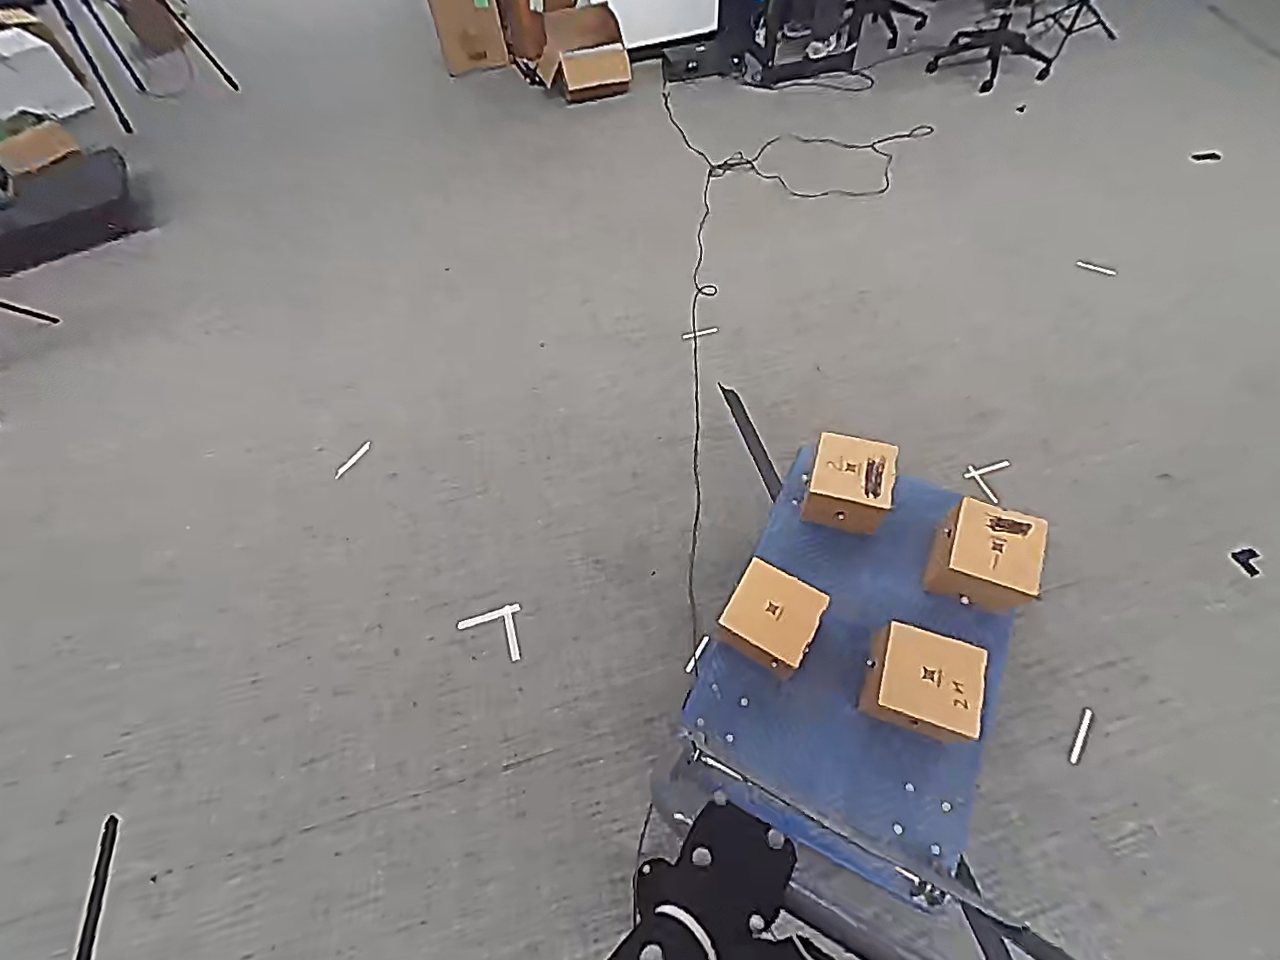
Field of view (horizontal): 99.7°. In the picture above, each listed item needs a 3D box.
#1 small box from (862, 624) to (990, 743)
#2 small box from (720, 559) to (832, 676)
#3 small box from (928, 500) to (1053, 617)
[{"bbox_3d":[0.560,0.411,1.077,0.179,0.176,0.168,17,67,16],"label":"small box"},{"bbox_3d":[0.286,0.305,1.172,0.179,0.176,0.168,28,69,19],"label":"small box"},{"bbox_3d":[0.751,0.174,1.173,0.168,0.176,0.179,19,68,17],"label":"small box"}]
